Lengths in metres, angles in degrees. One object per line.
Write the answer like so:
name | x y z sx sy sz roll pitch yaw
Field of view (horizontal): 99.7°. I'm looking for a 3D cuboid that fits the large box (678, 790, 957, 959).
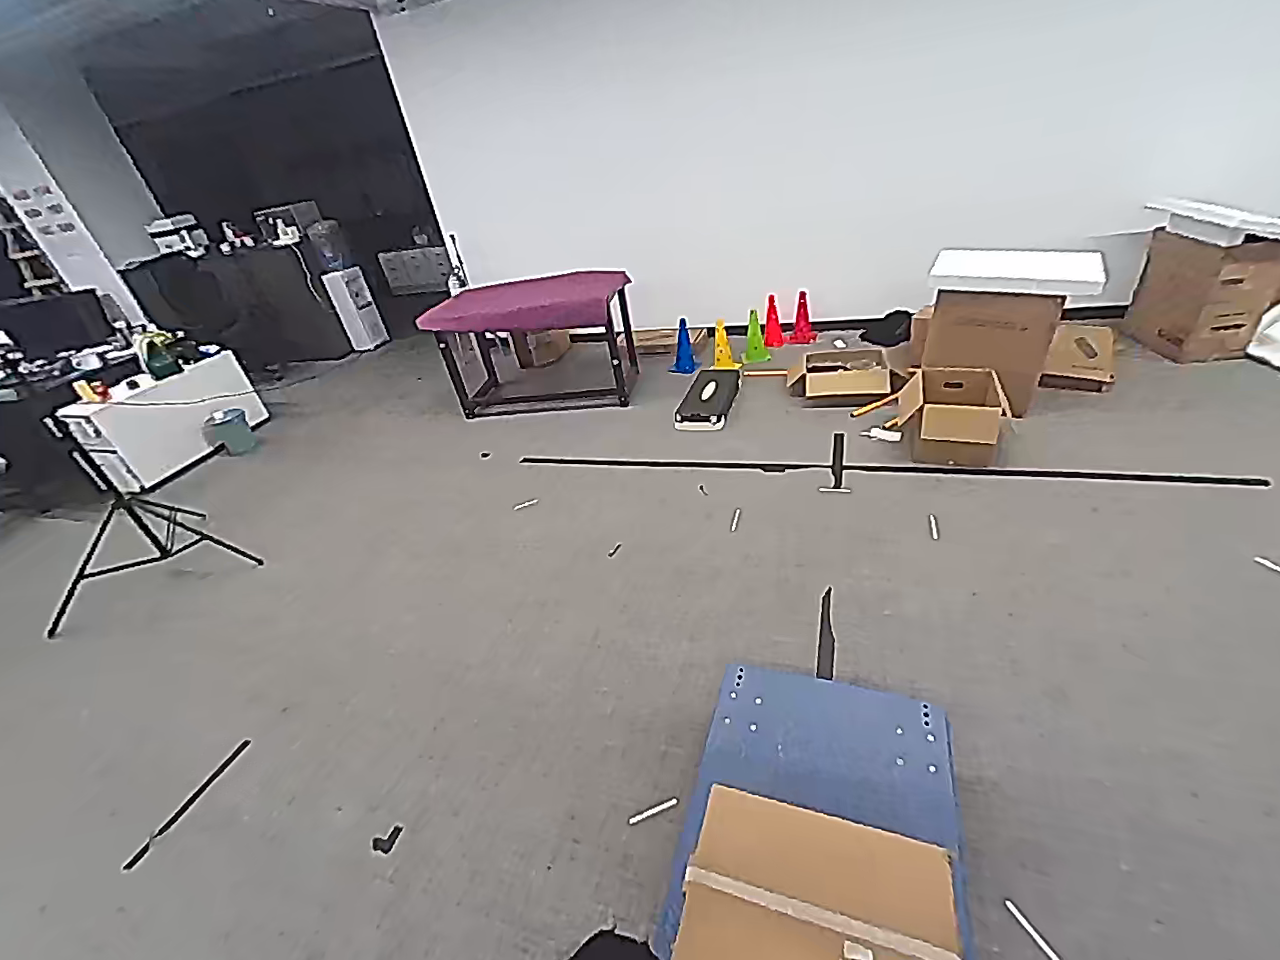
large box | 0.300 0.816 0.943 0.408 0.320 0.320 4 37 20
